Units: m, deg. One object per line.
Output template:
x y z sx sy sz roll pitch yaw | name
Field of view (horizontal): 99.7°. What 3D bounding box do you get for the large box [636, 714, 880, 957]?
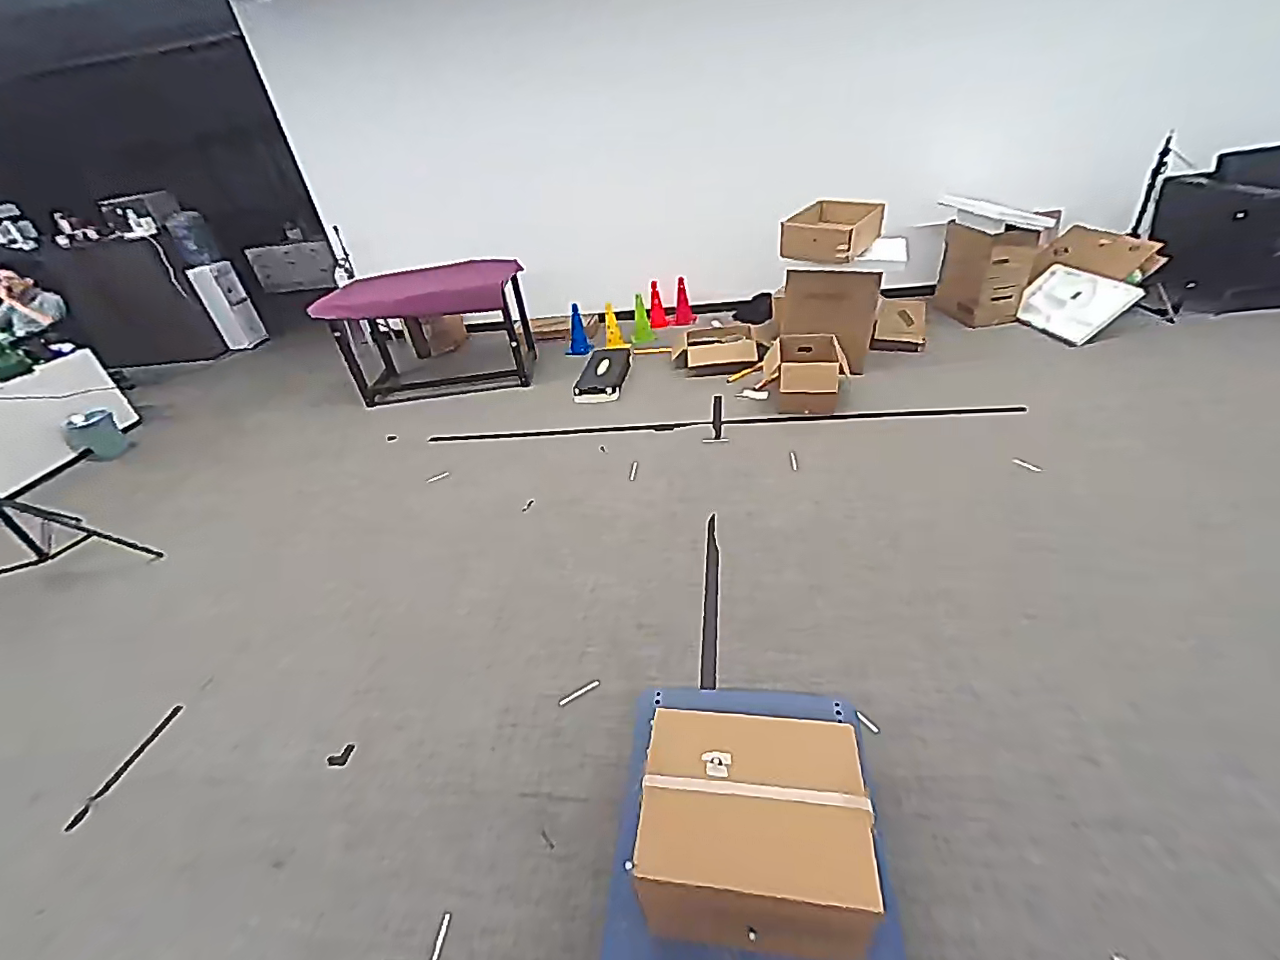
0.230 0.709 1.096 0.408 0.320 0.320 -2 34 12 | large box
